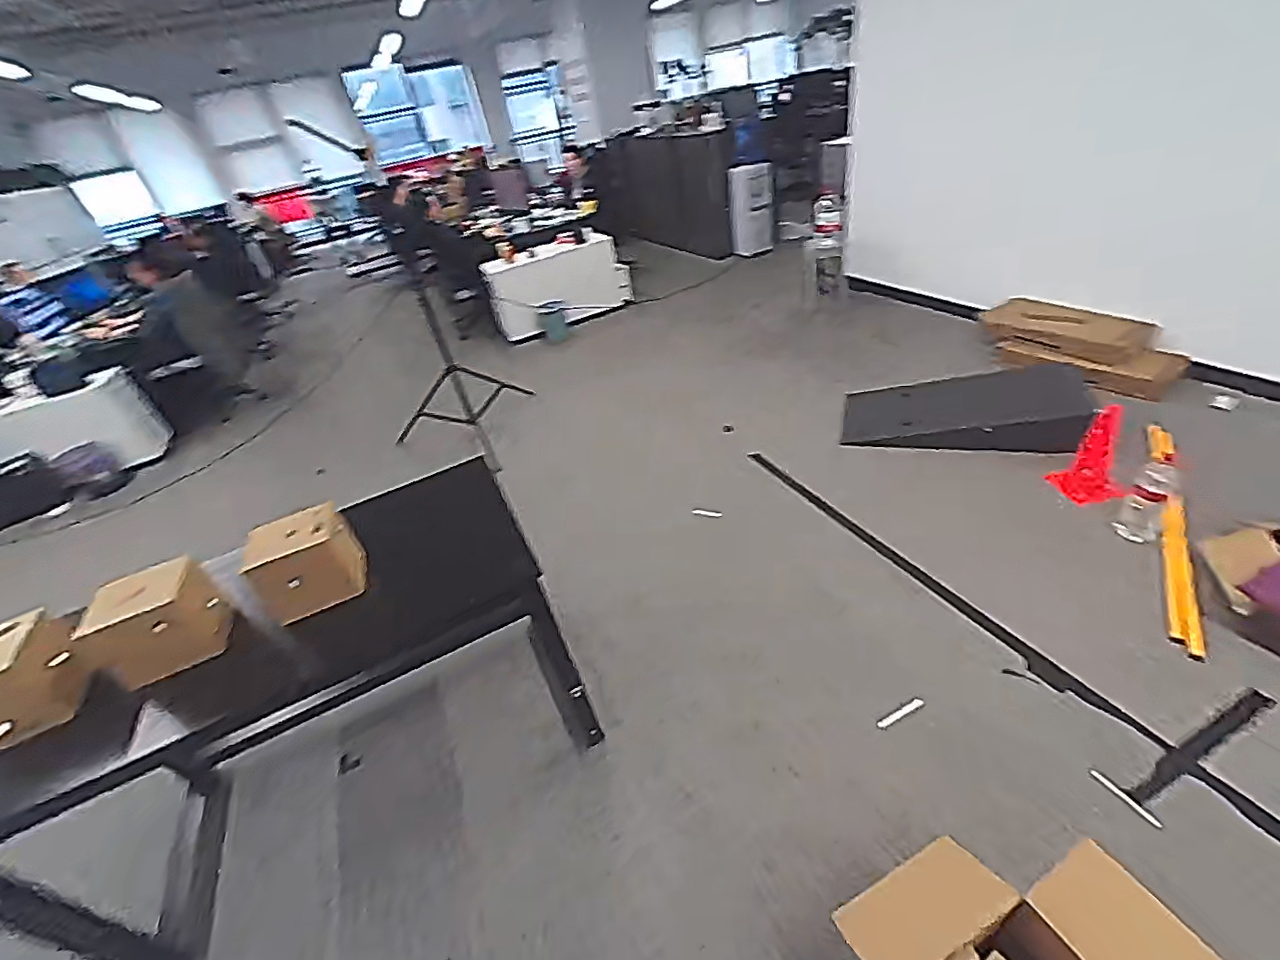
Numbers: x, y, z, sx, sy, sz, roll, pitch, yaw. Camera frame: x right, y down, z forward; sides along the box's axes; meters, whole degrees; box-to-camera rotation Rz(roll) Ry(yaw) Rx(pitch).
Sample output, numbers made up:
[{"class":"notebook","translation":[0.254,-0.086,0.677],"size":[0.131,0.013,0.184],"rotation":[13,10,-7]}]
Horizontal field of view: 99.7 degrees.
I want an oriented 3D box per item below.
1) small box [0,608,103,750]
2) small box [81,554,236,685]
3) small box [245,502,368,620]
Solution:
[{"class":"small box","translation":[-1.245,0.400,1.085],"size":[0.168,0.176,0.179],"rotation":[-25,38,-17]},{"class":"small box","translation":[-1.010,0.297,1.158],"size":[0.179,0.176,0.168],"rotation":[-23,36,-16]},{"class":"small box","translation":[-0.751,0.186,1.238],"size":[0.179,0.176,0.168],"rotation":[-23,37,-14]}]
